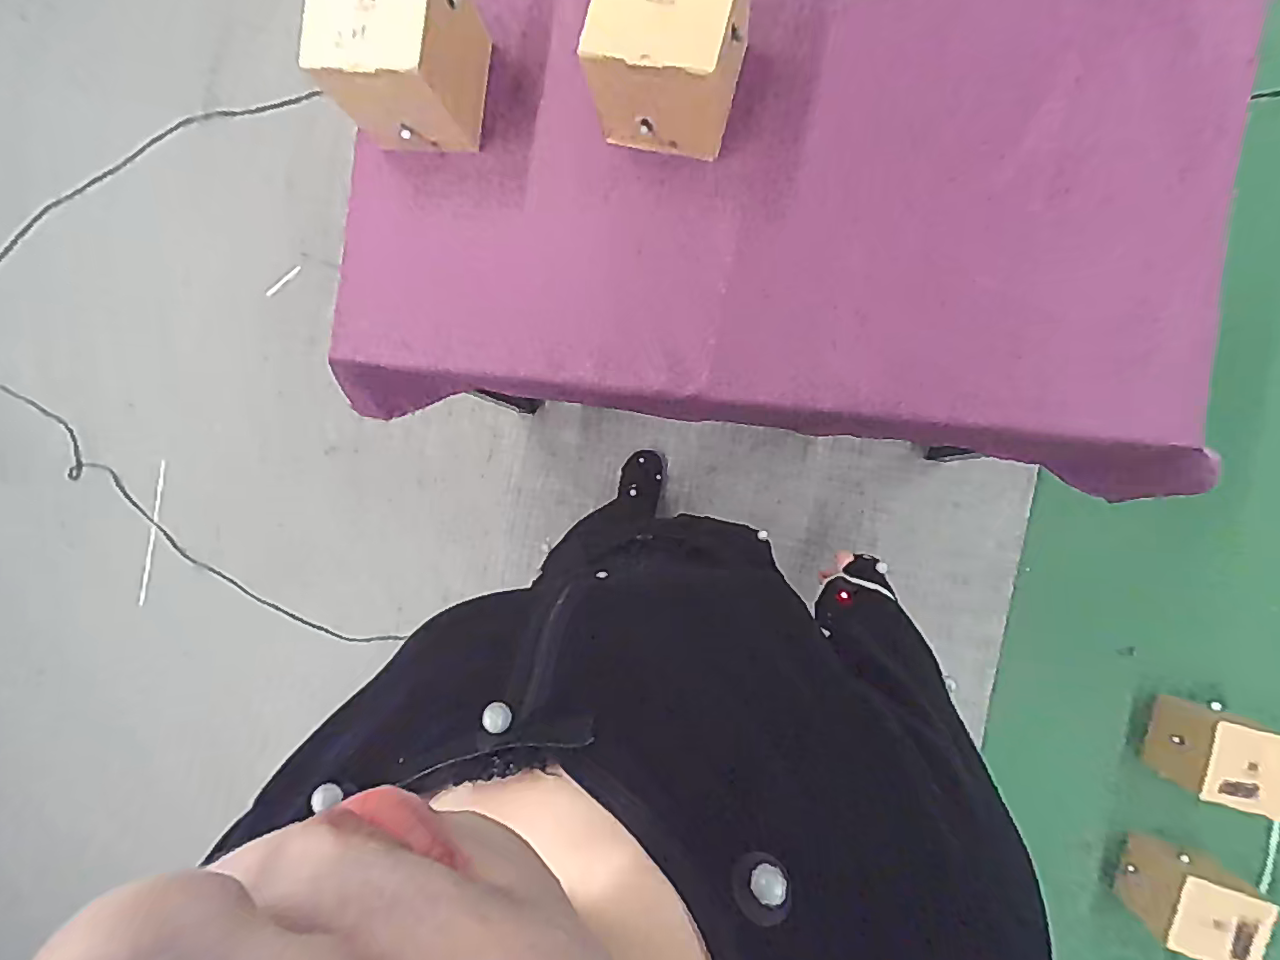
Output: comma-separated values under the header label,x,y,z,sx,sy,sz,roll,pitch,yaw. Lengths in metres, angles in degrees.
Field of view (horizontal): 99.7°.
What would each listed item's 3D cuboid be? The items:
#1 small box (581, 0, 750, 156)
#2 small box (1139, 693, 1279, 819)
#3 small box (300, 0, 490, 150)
label,x,y,z,sx,sy,sz,roll,pitch,yaw
small box,0.041,-0.562,0.693,0.168,0.176,0.179,16,93,9
small box,1.295,0.615,1.227,0.168,0.176,0.179,13,90,8
small box,-0.322,-0.596,0.744,0.168,0.176,0.179,8,91,9
